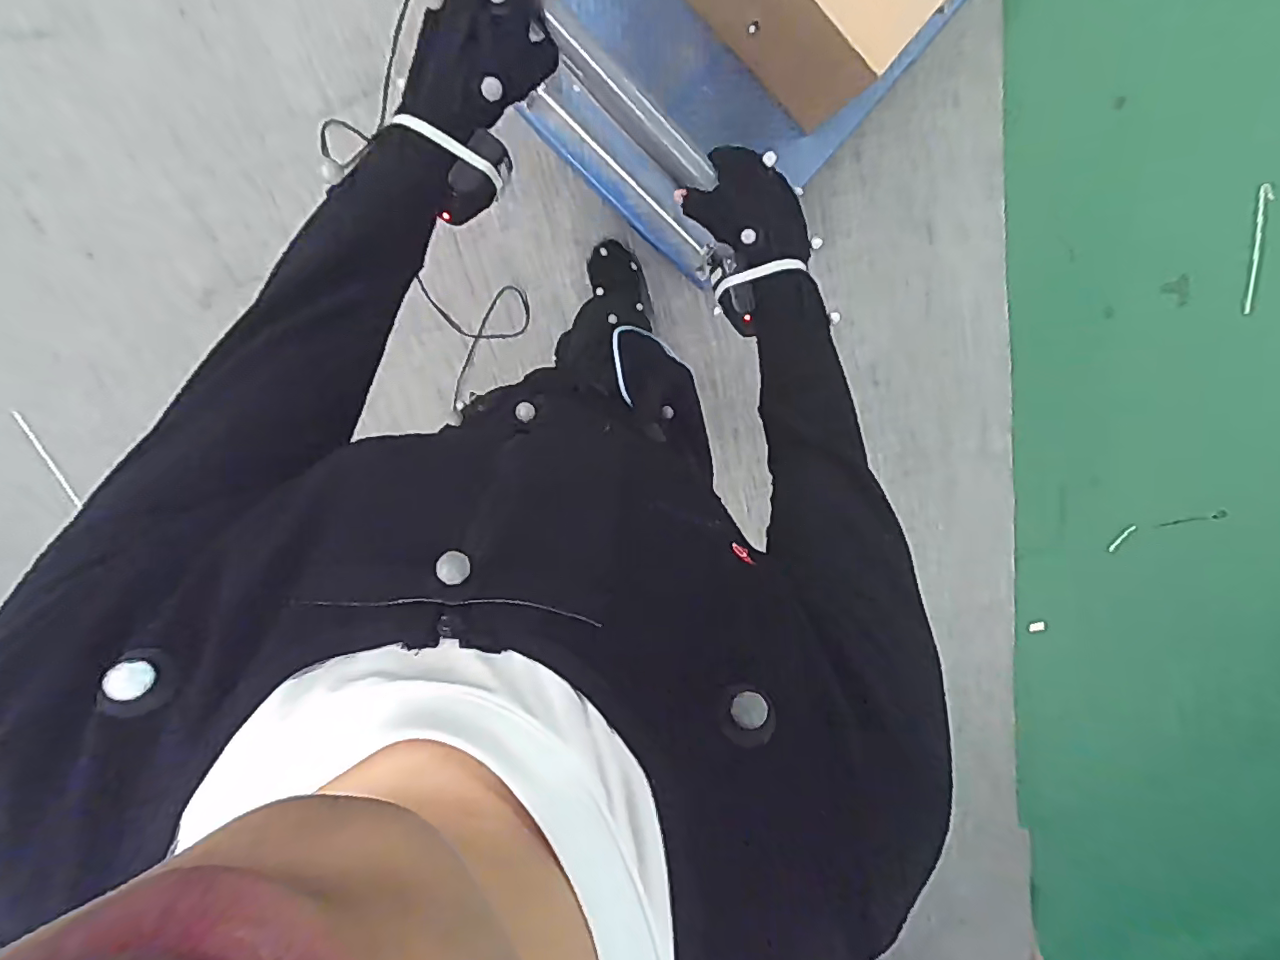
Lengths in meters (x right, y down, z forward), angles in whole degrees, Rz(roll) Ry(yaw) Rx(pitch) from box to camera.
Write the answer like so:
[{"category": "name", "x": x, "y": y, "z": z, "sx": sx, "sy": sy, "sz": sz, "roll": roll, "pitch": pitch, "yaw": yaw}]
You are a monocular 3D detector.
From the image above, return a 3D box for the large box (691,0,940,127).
[{"category": "large box", "x": 0.301, "y": -0.892, "z": 0.885, "sx": 0.408, "sy": 0.320, "sz": 0.320, "roll": 38, "pitch": 102, "yaw": -14}]
